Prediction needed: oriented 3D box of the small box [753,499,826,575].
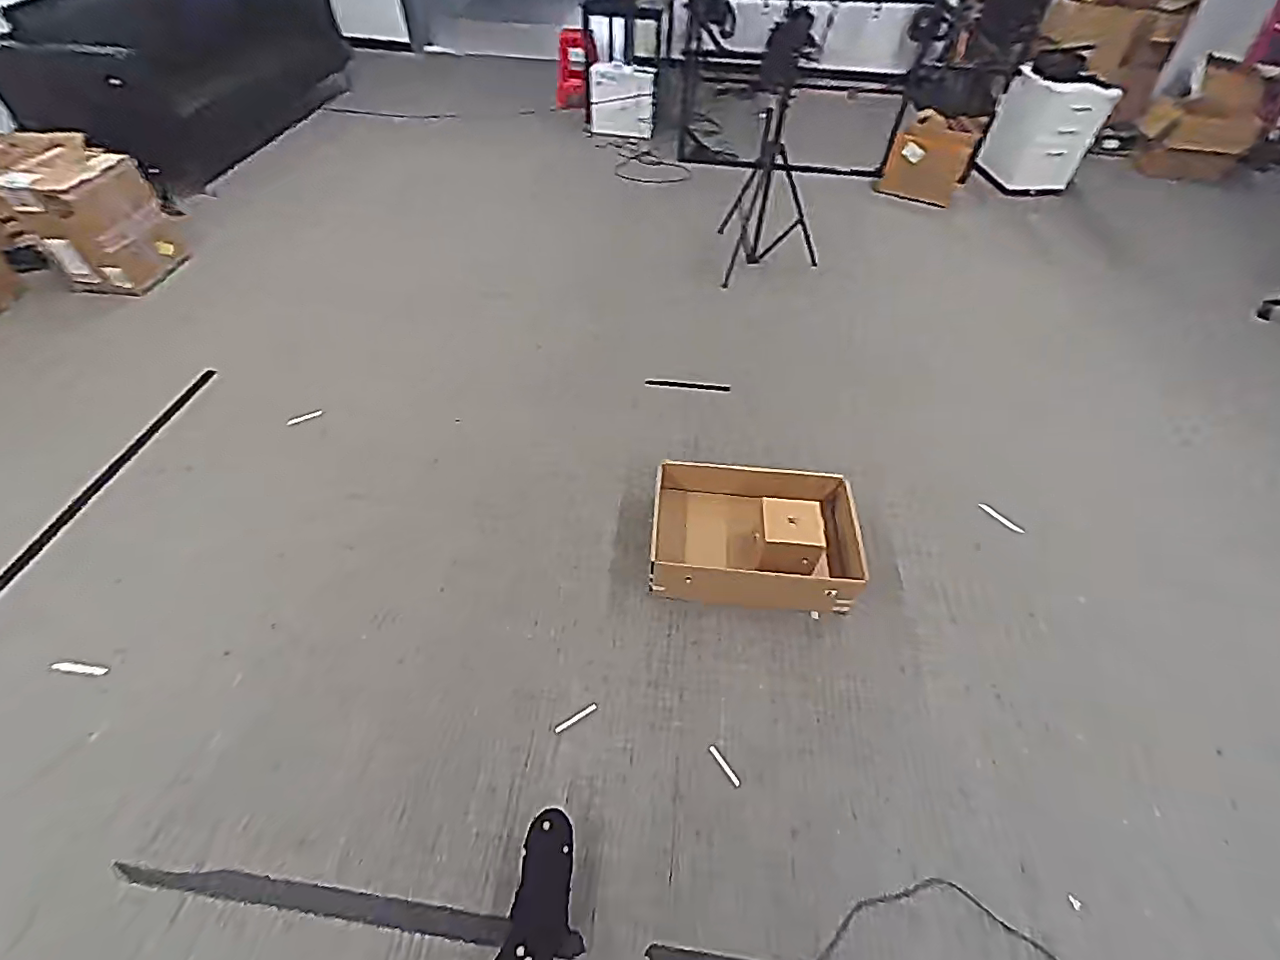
[{"bbox_3d":[0.453,0.179,1.664,0.179,0.176,0.168,3,49,3],"label":"small box"}]
